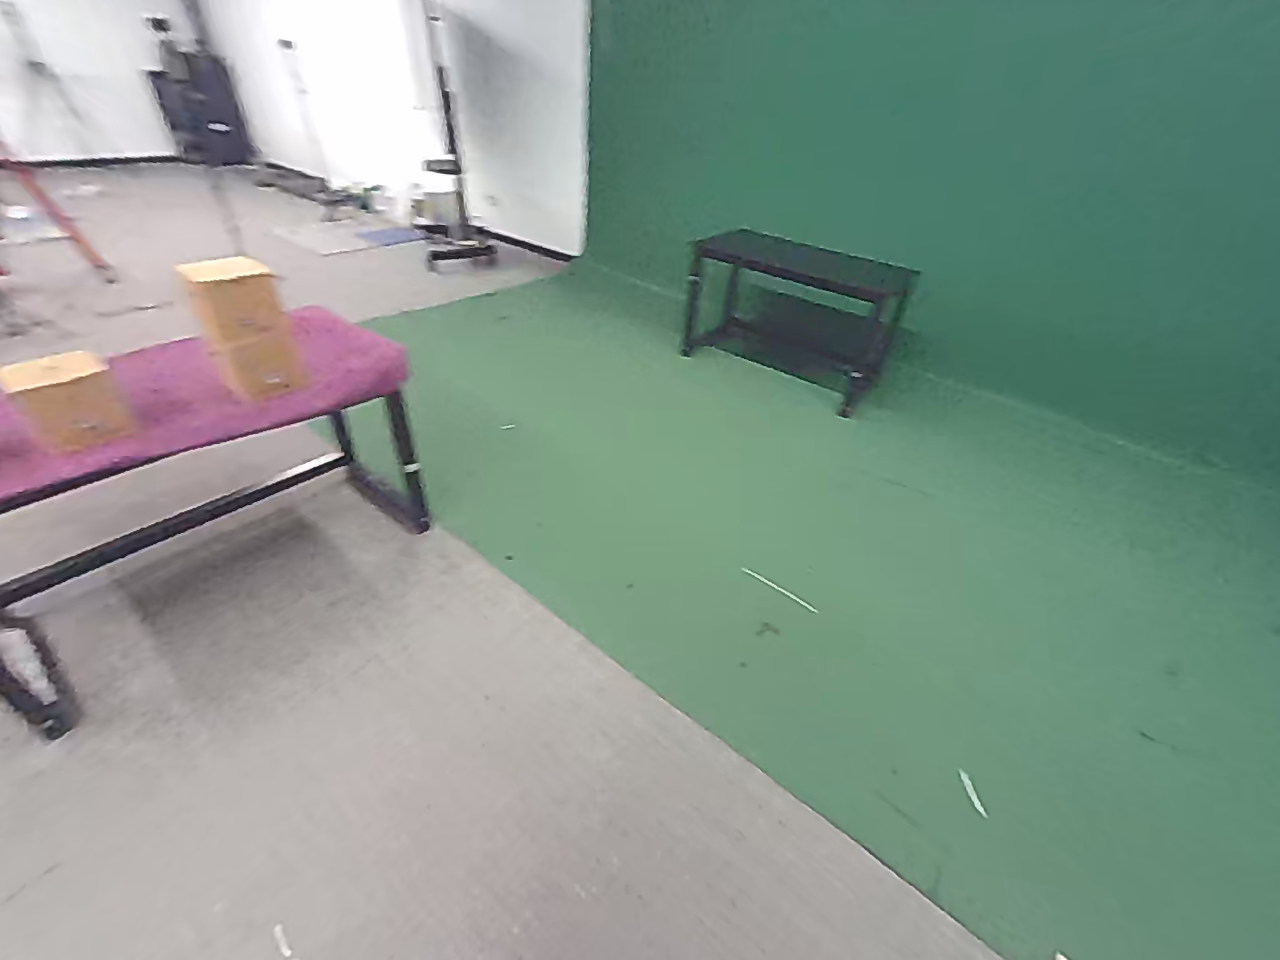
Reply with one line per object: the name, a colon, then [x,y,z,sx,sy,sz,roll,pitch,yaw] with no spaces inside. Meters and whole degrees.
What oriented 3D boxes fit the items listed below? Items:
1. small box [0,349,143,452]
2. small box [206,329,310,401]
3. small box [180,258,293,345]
small box: [-1.348,-0.190,1.290,0.179,0.176,0.168,27,42,28]
small box: [-1.077,-0.343,1.533,0.179,0.176,0.168,29,43,28]
small box: [-1.068,-0.476,1.439,0.179,0.176,0.168,29,43,28]
